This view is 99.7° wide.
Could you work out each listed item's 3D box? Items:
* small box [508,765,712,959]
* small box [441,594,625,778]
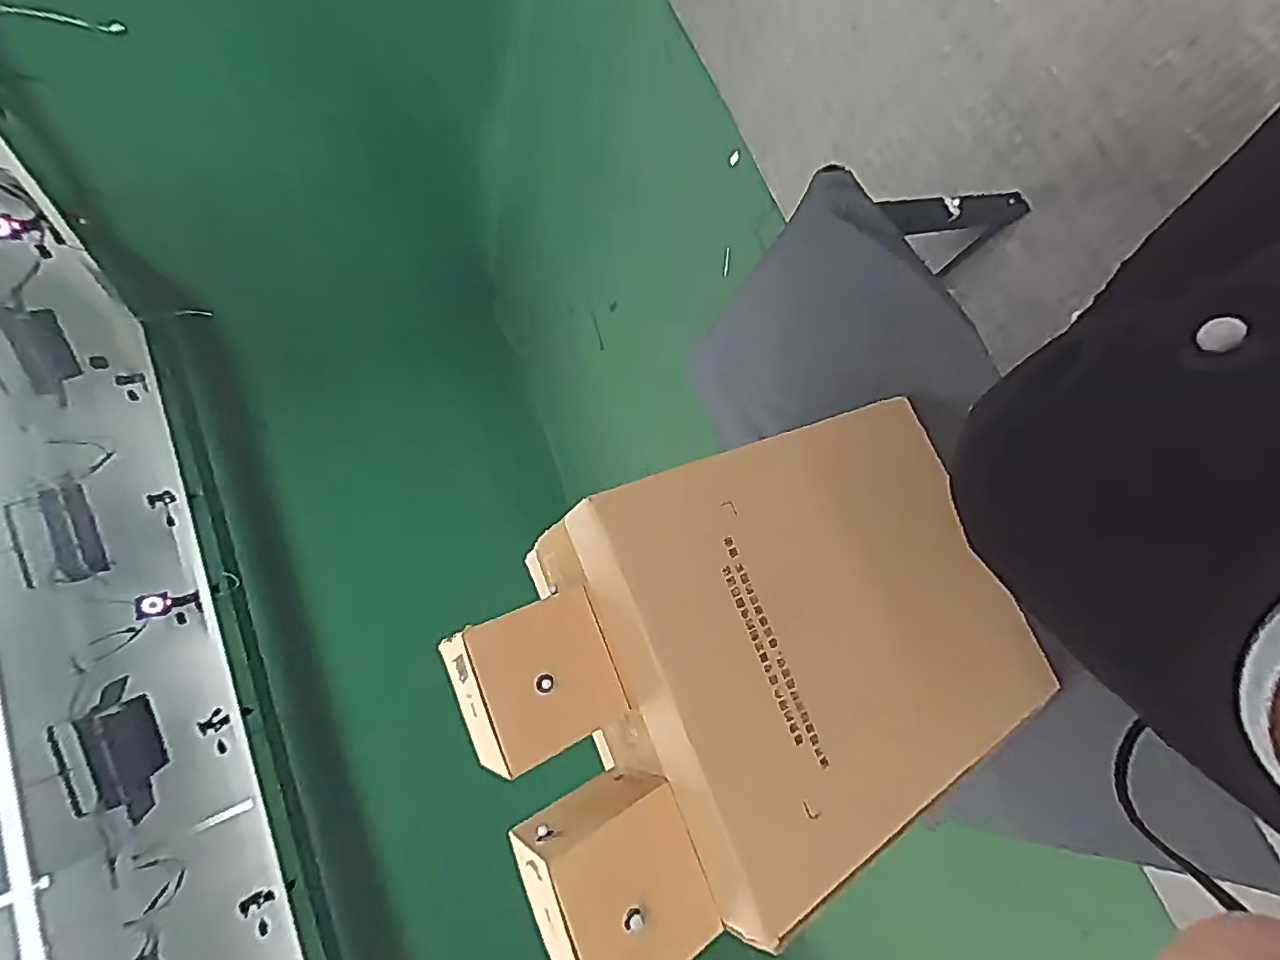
[{"bbox_3d":[-0.039,0.490,0.670,0.168,0.176,0.179,-37,73,56],"label":"small box"},{"bbox_3d":[-0.147,0.265,0.732,0.168,0.176,0.179,-36,74,56],"label":"small box"}]
